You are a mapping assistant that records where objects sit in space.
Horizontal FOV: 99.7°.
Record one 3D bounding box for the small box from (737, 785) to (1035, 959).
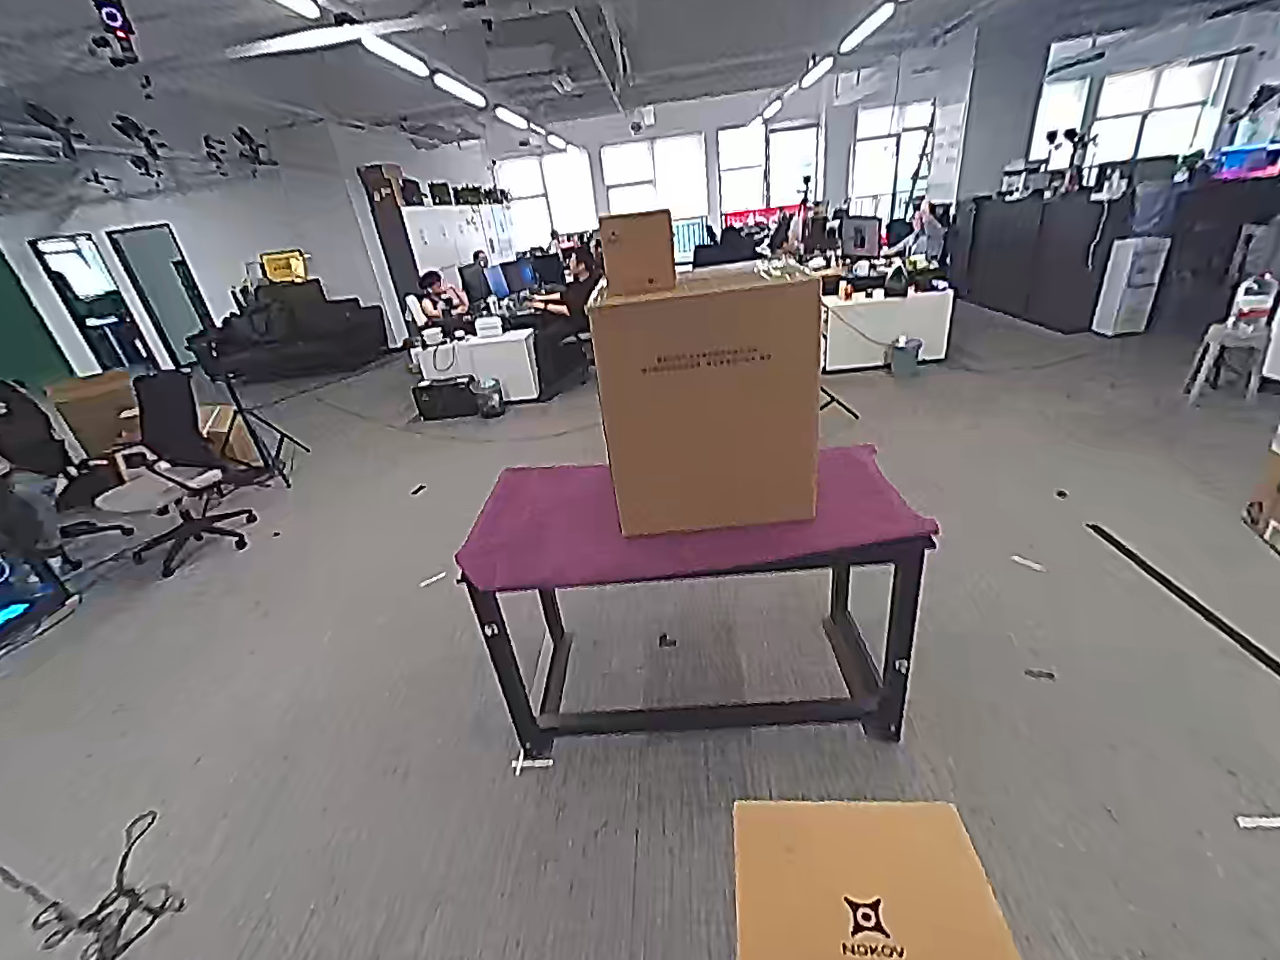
[{"bbox_3d":[0.155,0.342,0.364,0.168,0.176,0.179,-6,19,10],"label":"small box"}]
